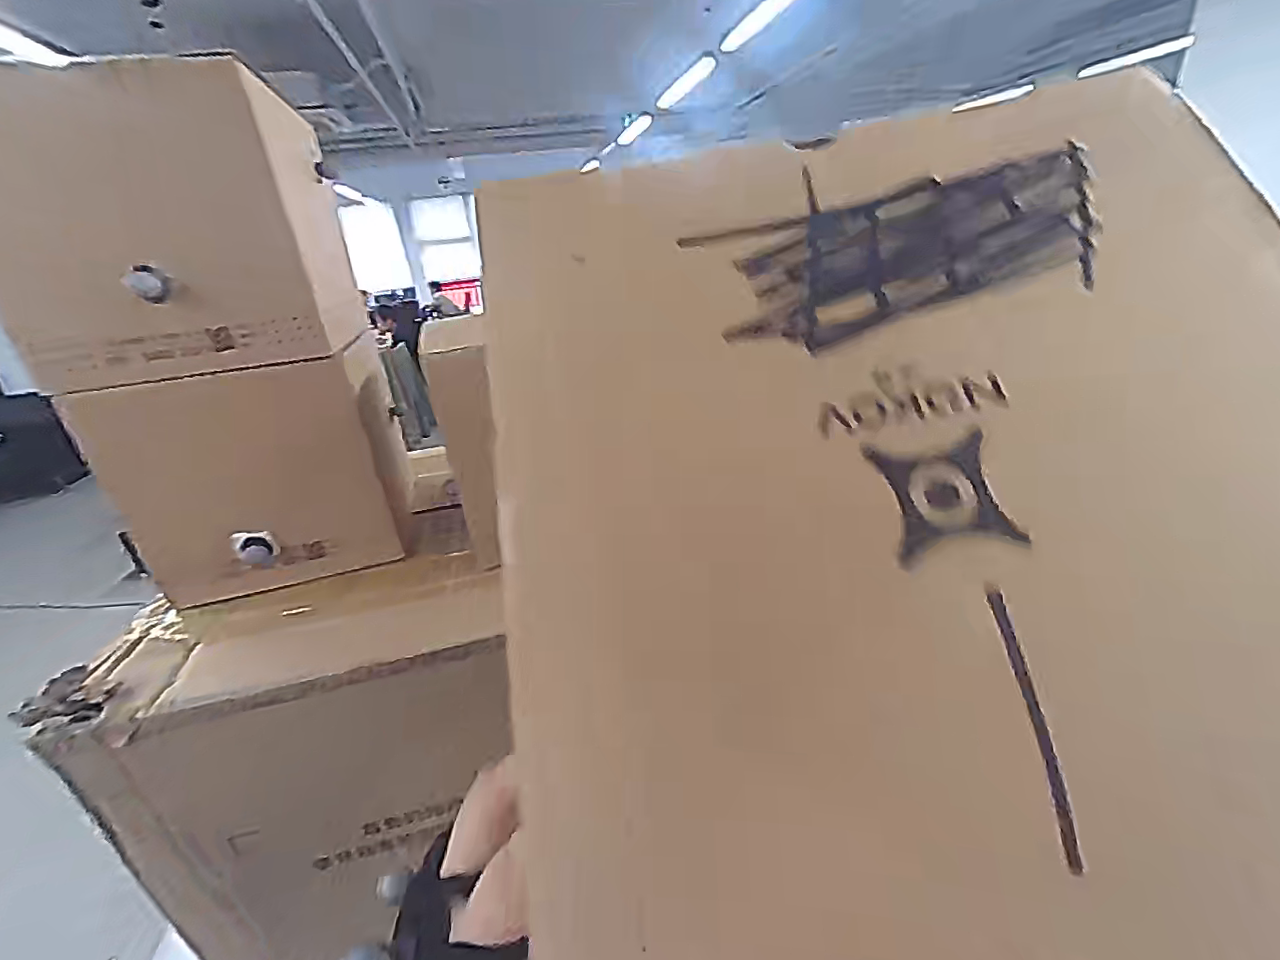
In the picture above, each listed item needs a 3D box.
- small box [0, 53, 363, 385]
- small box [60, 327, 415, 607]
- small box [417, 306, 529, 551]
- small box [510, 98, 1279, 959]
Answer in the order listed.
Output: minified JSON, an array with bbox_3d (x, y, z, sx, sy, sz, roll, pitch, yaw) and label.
[{"bbox_3d":[-0.315,-0.172,0.384,0.168,0.176,0.179,-13,25,-13],"label":"small box"},{"bbox_3d":[-0.298,-0.023,0.454,0.168,0.176,0.179,-14,26,-16],"label":"small box"},{"bbox_3d":[-0.082,-0.054,0.465,0.168,0.176,0.179,-14,26,-15],"label":"small box"},{"bbox_3d":[0.064,0.027,0.175,0.168,0.179,0.176,-9,-20,1],"label":"small box"}]
